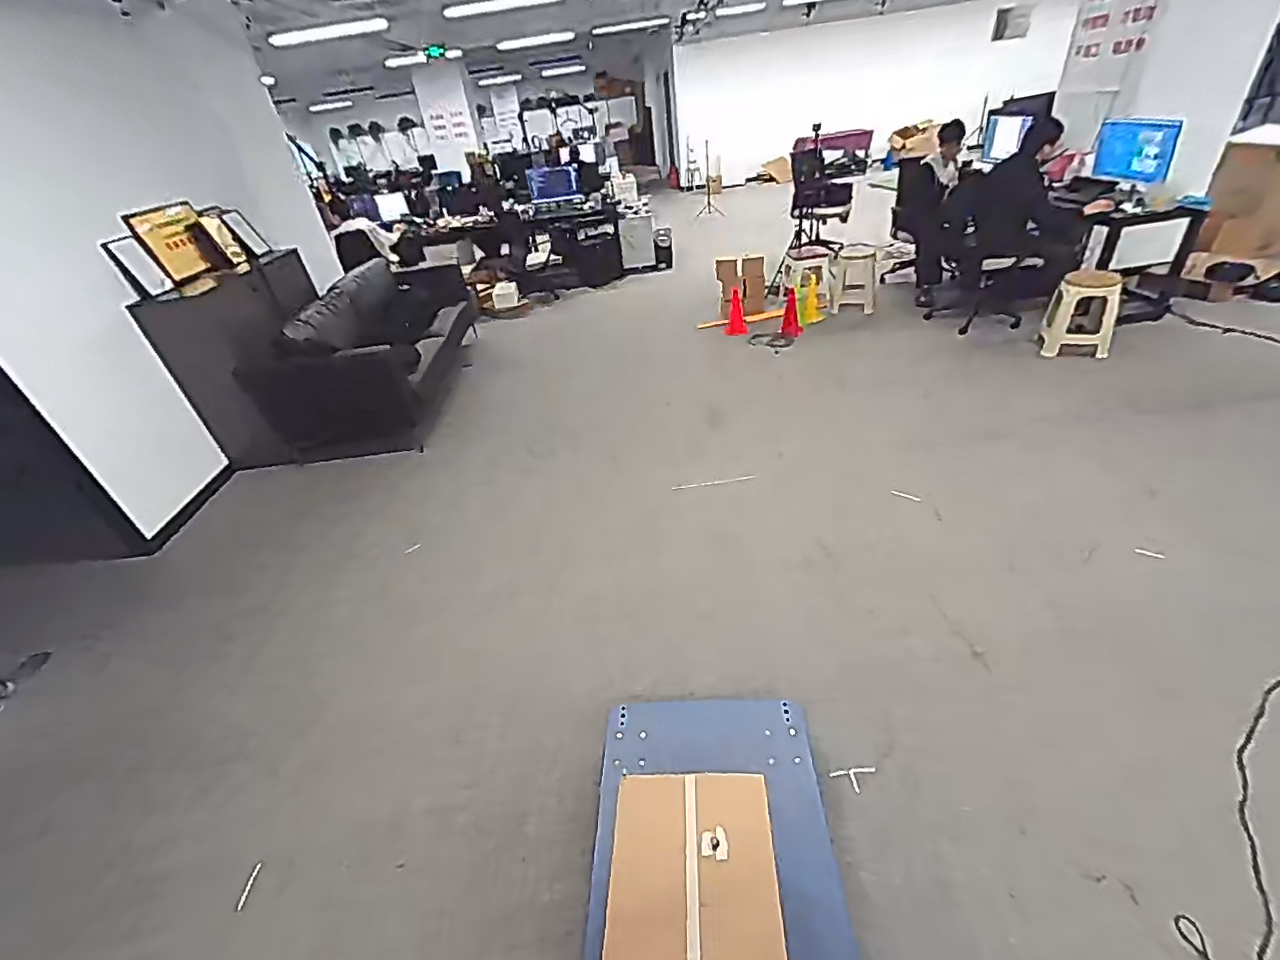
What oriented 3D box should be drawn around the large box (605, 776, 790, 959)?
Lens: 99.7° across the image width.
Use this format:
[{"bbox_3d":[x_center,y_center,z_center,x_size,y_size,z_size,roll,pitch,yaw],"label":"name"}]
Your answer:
[{"bbox_3d":[0.118,0.875,1.078,0.320,0.320,0.408,-4,33,6],"label":"large box"}]
